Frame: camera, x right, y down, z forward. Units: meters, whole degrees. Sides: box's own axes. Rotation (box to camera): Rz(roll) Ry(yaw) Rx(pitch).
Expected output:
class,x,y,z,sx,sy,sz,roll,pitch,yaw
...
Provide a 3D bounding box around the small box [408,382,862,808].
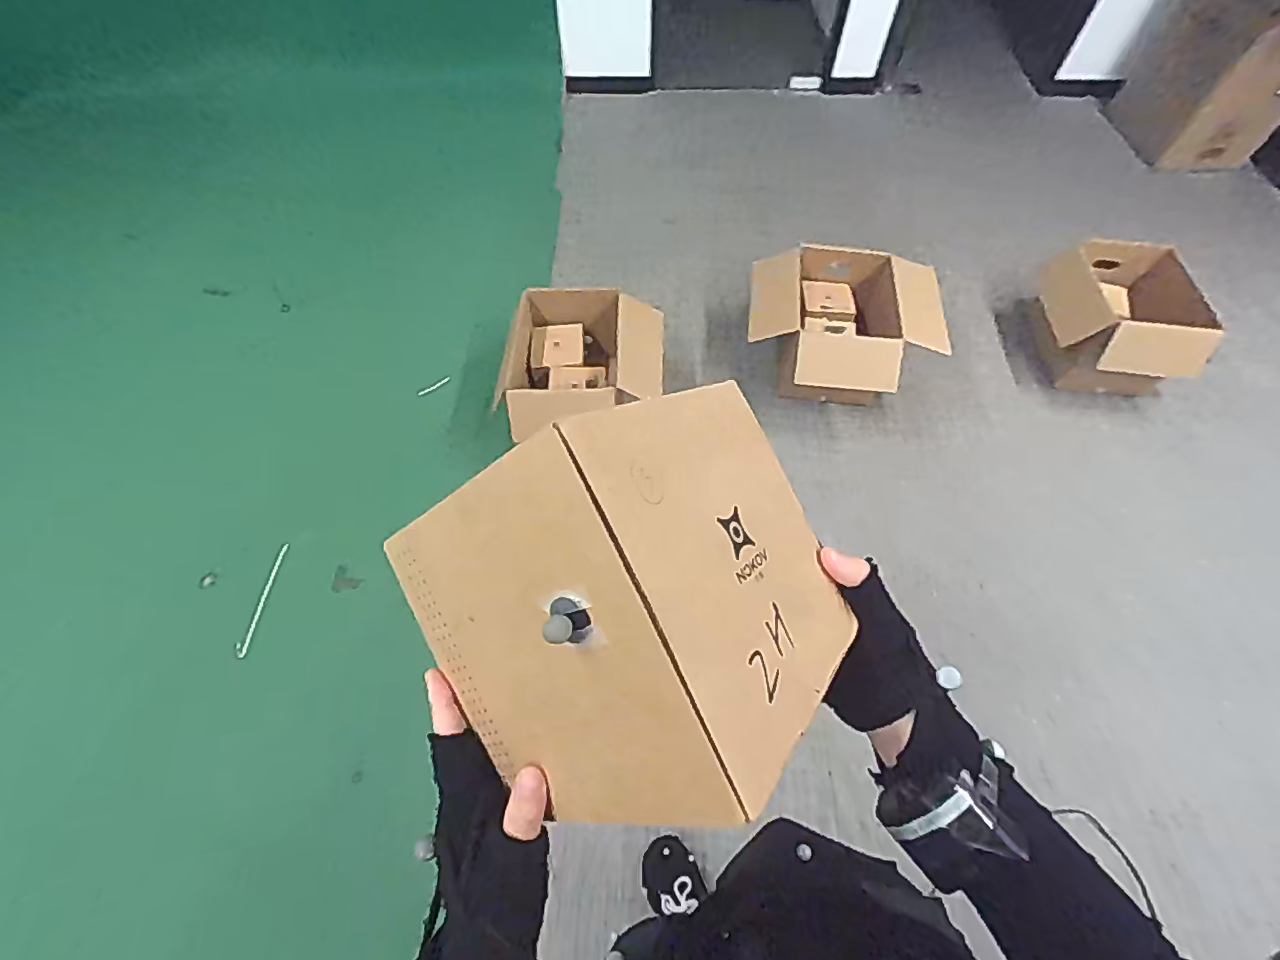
class,x,y,z,sx,sy,sz,roll,pitch,yaw
small box,-0.004,0.062,0.320,0.168,0.176,0.179,-22,85,-52
